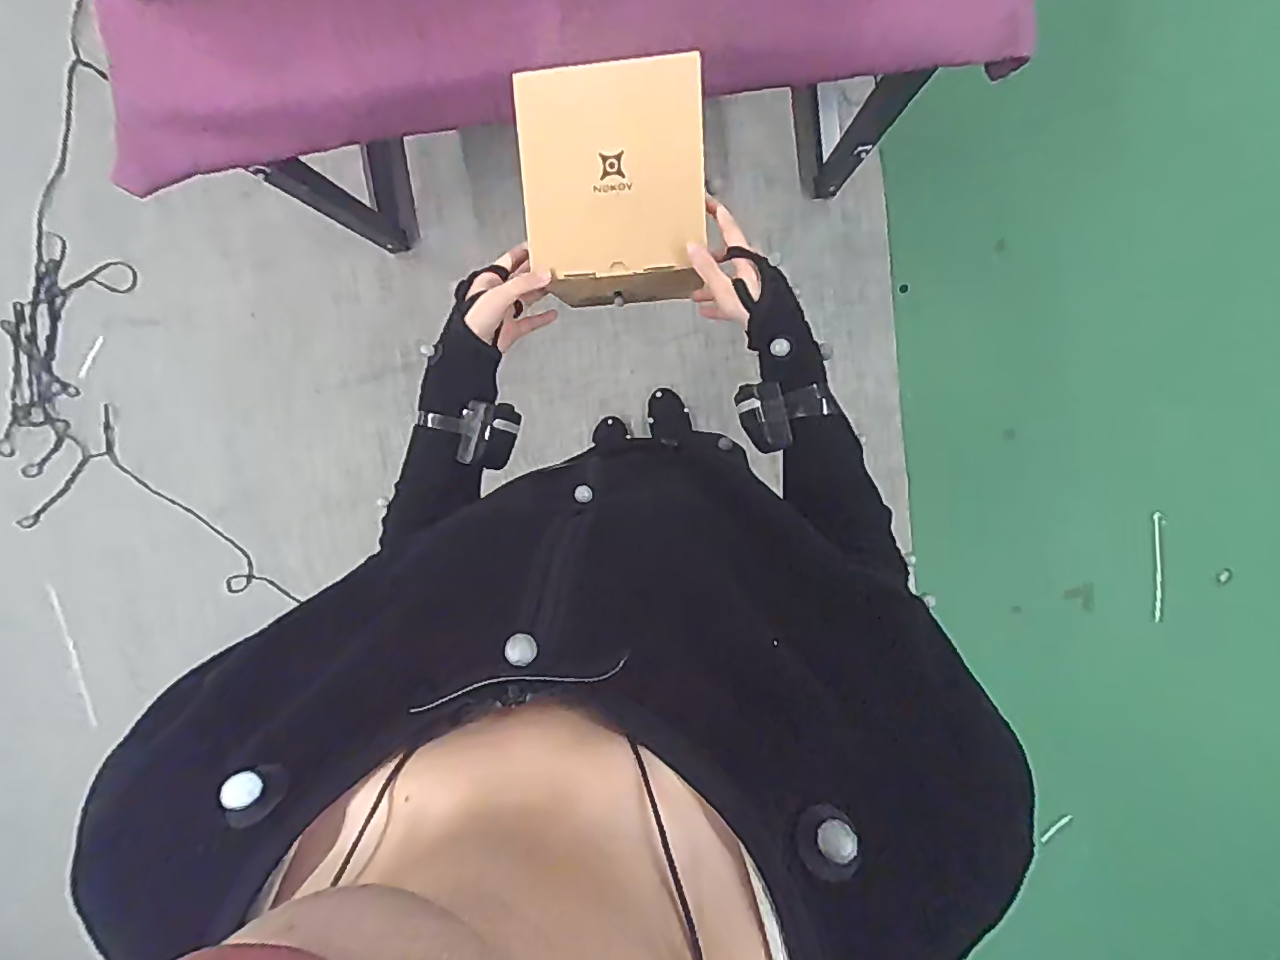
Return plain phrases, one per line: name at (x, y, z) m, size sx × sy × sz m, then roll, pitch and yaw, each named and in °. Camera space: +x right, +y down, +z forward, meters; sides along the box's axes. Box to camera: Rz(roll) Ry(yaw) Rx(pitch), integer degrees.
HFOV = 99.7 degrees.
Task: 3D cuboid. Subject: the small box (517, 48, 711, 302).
small box at (-0.017, -0.291, 0.556) m, size 0.168 × 0.176 × 0.179 m, roll -3°, pitch 100°, yaw 5°
